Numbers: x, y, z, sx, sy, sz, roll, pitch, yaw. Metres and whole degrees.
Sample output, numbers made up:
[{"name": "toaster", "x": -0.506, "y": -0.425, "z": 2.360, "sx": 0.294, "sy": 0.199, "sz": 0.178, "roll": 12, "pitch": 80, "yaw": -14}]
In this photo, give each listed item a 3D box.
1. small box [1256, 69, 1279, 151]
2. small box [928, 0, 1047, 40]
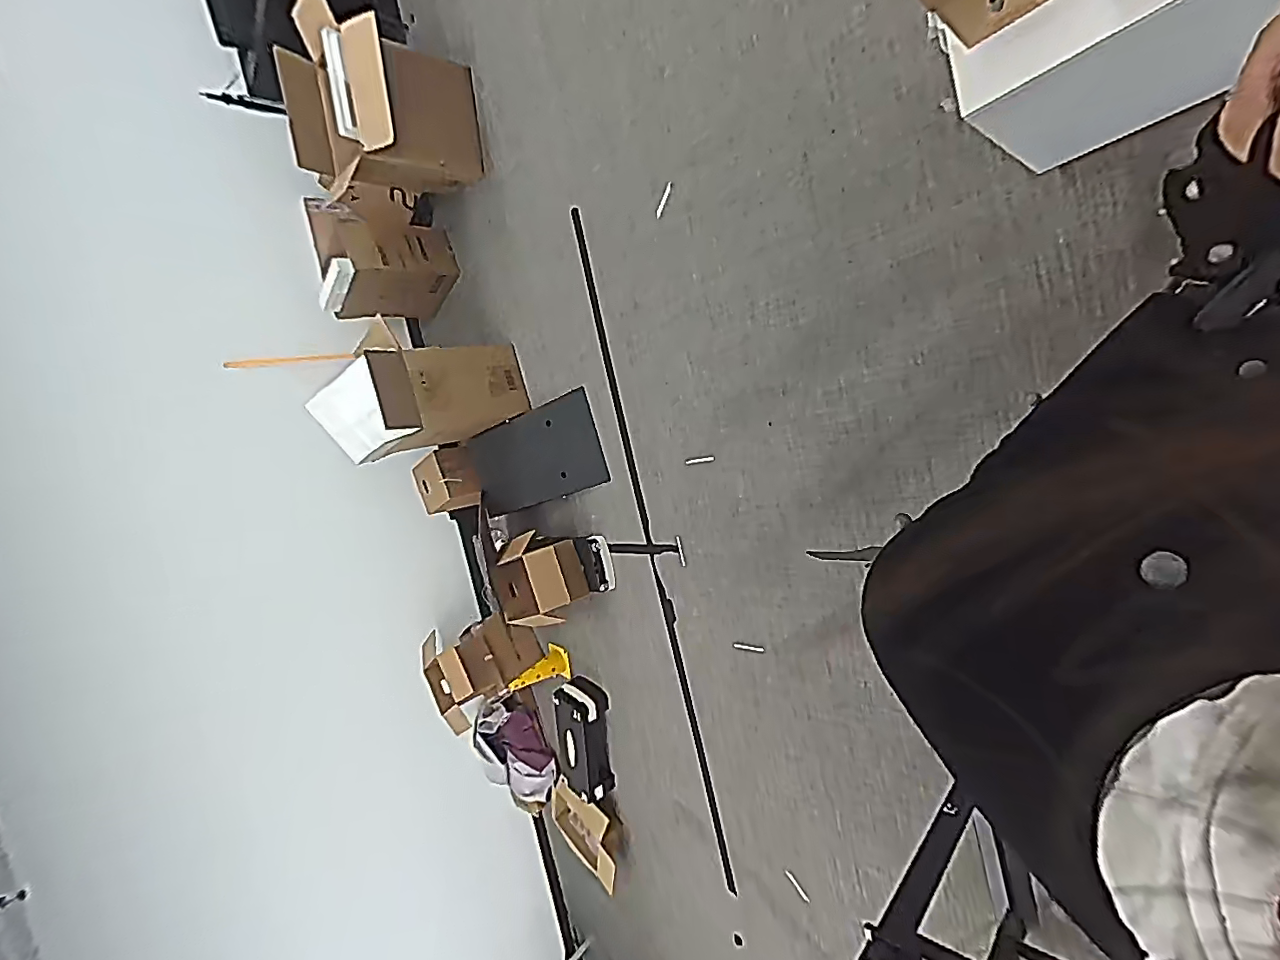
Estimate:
[{"name": "small box", "x": 0.547, "y": -0.324, "z": 0.335, "sx": 0.168, "sy": 0.176, "sz": 0.179, "roll": 26, "pitch": 104, "yaw": 36}, {"name": "small box", "x": 0.492, "y": -0.742, "z": 0.726, "sx": 0.168, "sy": 0.176, "sz": 0.179, "roll": -8, "pitch": 96, "yaw": 48}]
